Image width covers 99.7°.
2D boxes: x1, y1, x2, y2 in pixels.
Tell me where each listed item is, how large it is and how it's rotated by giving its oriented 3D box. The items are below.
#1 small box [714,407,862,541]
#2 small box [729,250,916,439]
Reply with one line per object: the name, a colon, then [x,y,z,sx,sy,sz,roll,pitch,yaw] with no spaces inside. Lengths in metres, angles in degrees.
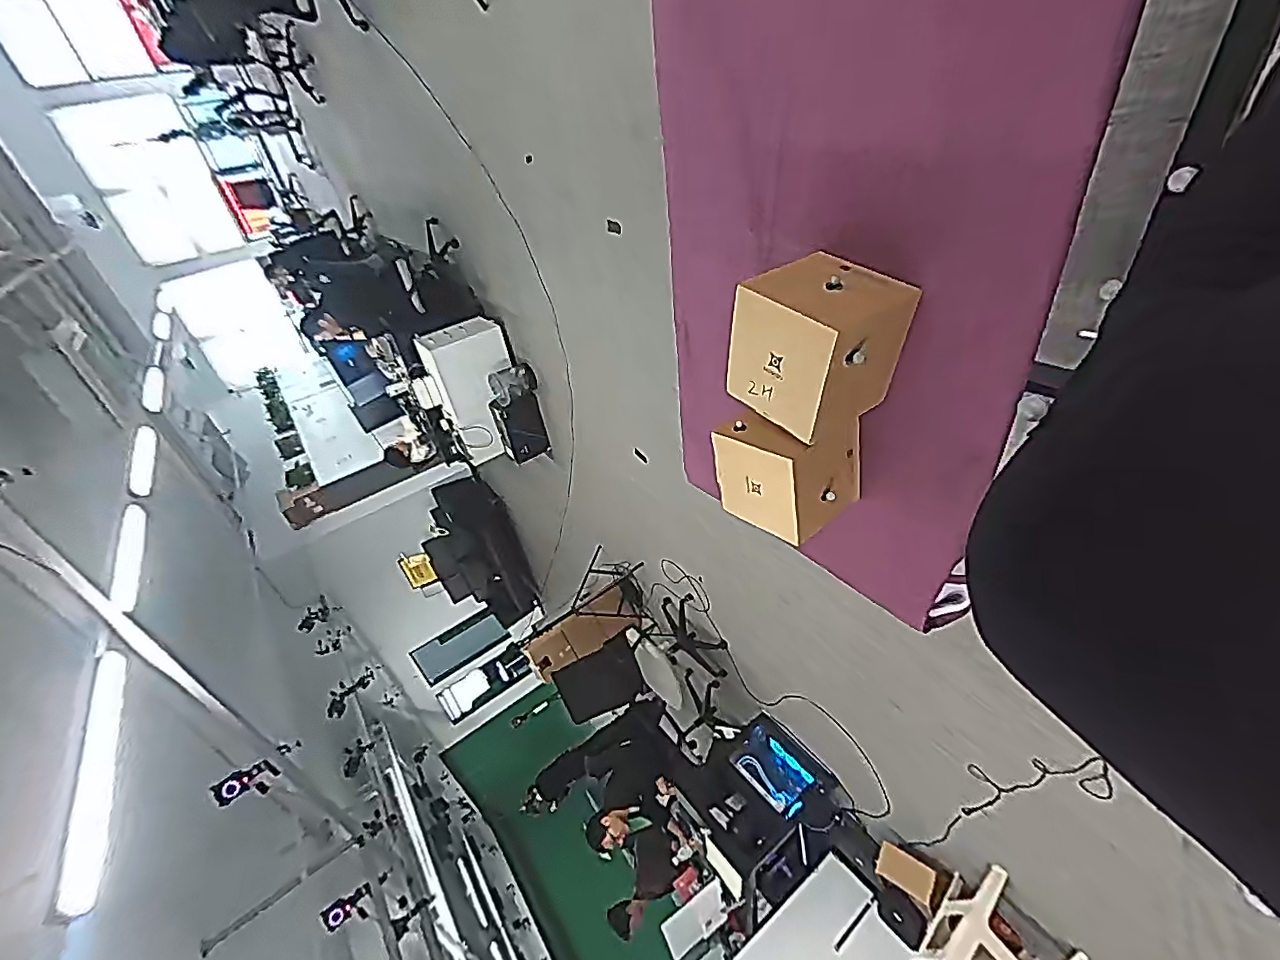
small box: [0.255,-0.031,0.913,0.179,0.176,0.168,28,140,50]
small box: [0.246,-0.195,0.749,0.168,0.176,0.179,43,151,36]
